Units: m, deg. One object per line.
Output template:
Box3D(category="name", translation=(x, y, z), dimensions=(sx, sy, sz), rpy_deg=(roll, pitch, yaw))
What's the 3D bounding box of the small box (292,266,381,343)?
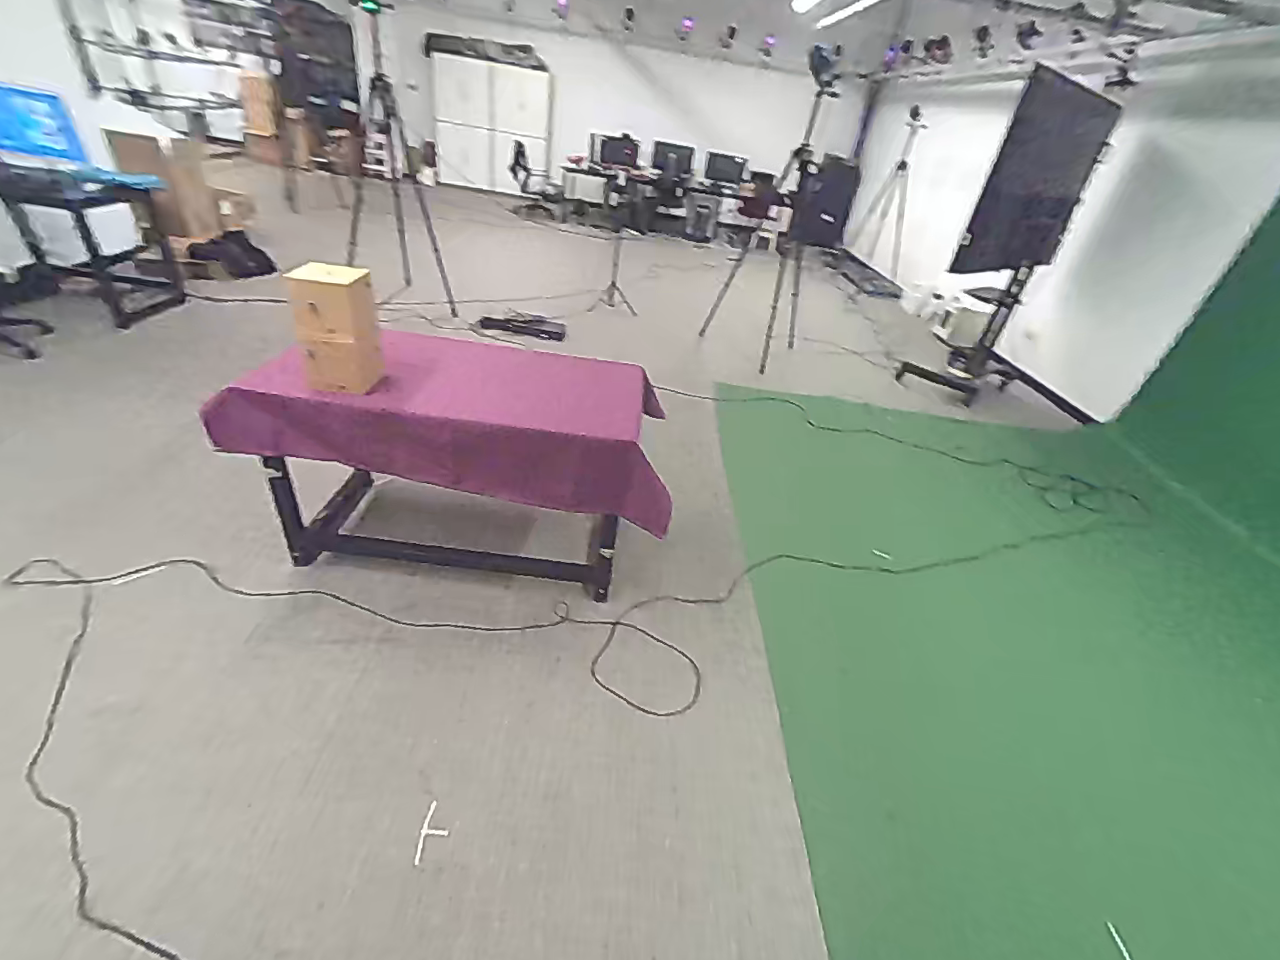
Box3D(category="small box", translation=(-0.878, -0.515, 1.588), dimensions=(0.168, 0.176, 0.179), rpy_deg=(5, 33, -6))
